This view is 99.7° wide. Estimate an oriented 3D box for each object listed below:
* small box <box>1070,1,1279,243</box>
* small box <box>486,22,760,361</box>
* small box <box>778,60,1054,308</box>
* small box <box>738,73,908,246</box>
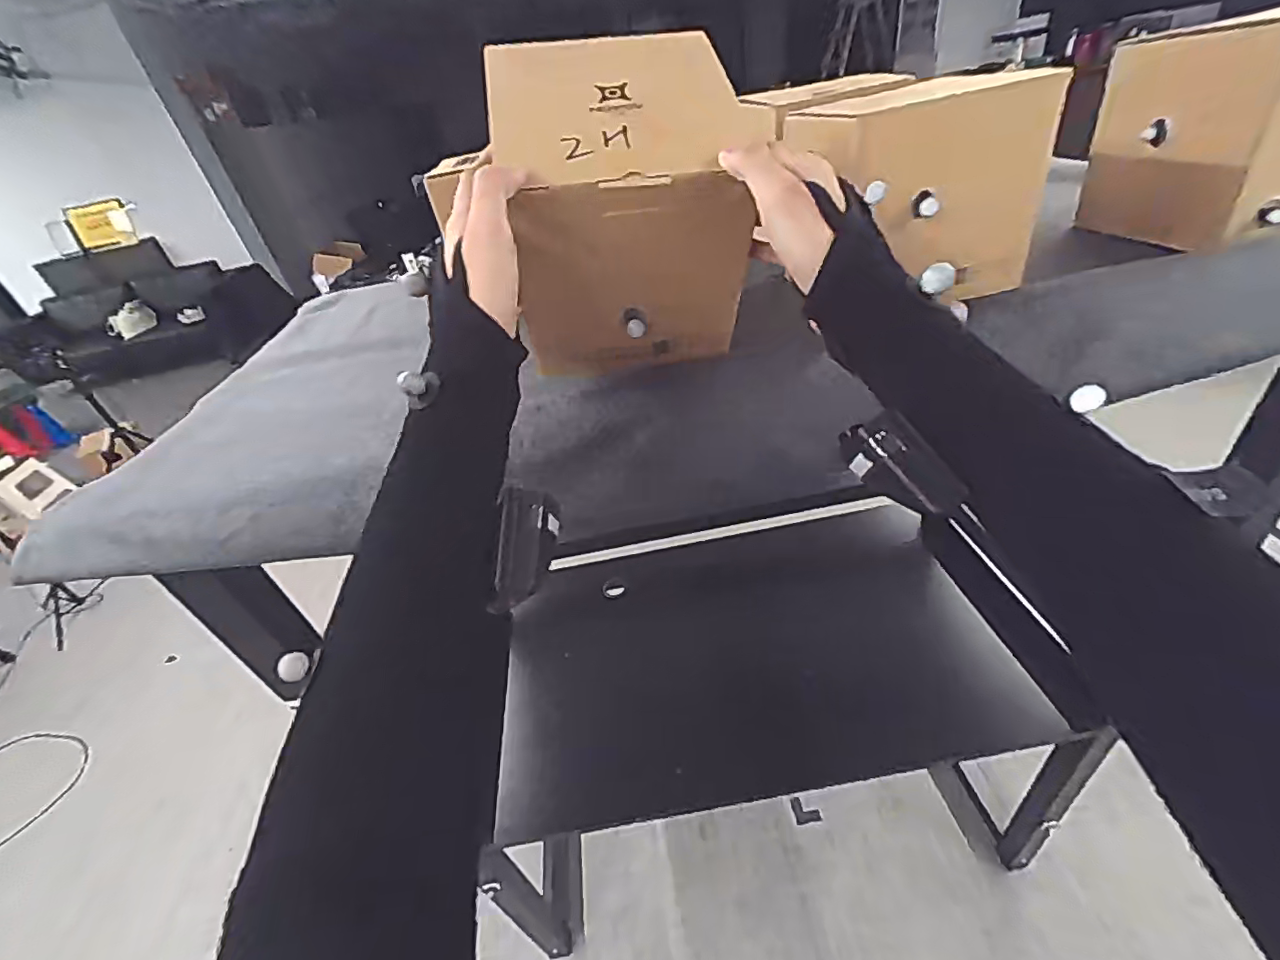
[{"bbox_3d":[0.553,-0.328,0.497,0.168,0.176,0.179,-10,32,3],"label":"small box"},{"bbox_3d":[-0.022,-0.221,0.429,0.168,0.176,0.179,-8,62,-5],"label":"small box"},{"bbox_3d":[0.242,-0.278,0.523,0.168,0.176,0.179,-12,34,0],"label":"small box"},{"bbox_3d":[0.229,-0.427,0.729,0.168,0.176,0.179,-12,35,0],"label":"small box"}]
